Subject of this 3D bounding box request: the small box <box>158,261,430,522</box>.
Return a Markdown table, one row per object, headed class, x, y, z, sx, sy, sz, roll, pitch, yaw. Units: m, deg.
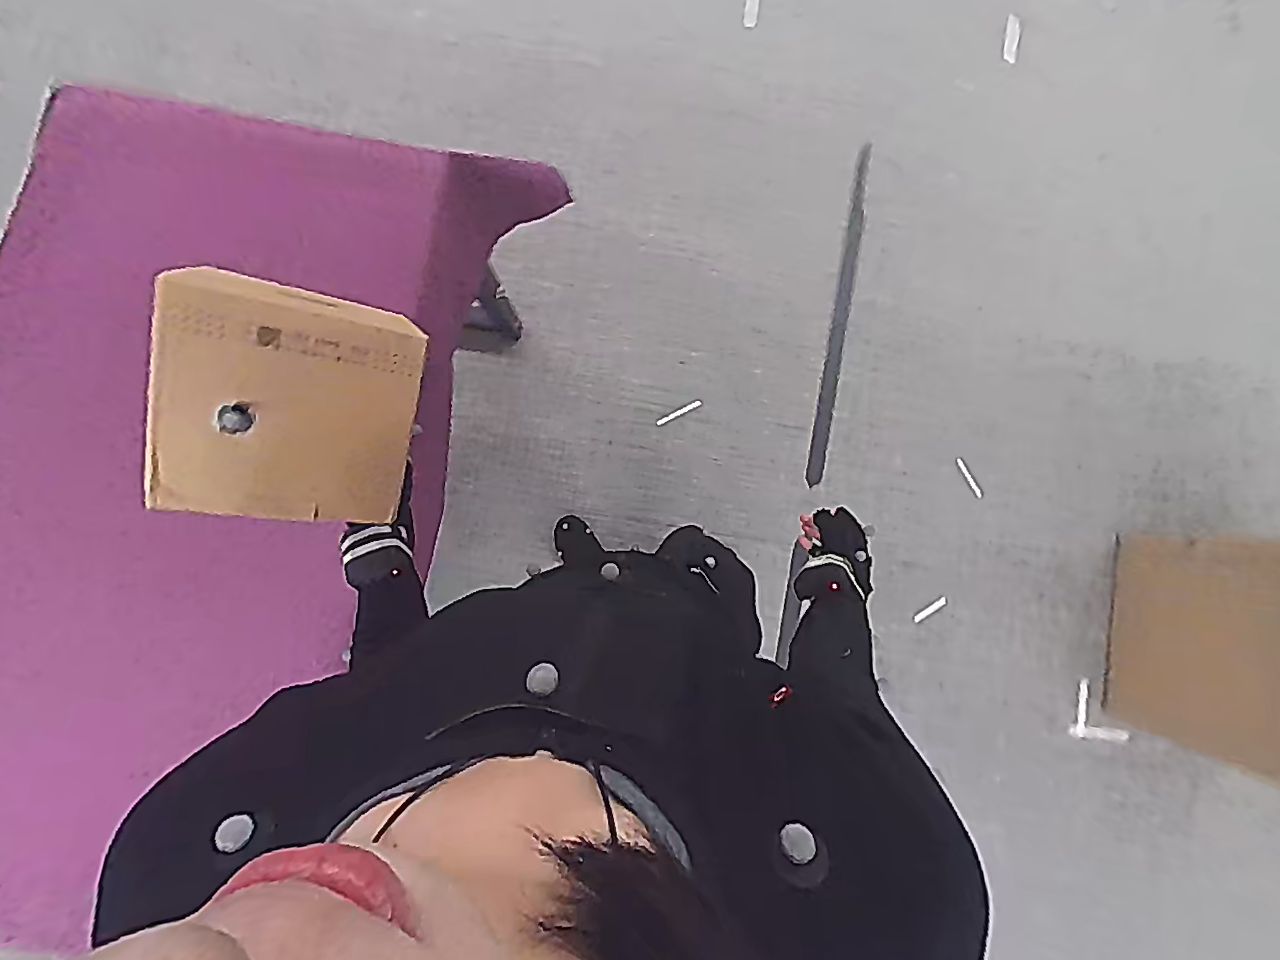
| class | x | y | z | sx | sy | sz | roll | pitch | yaw |
| --- | --- | --- | --- | --- | --- | --- | --- | --- | --- |
| small box | -0.289 | -0.080 | 0.469 | 0.168 | 0.179 | 0.176 | 9 | 107 | -32 |
